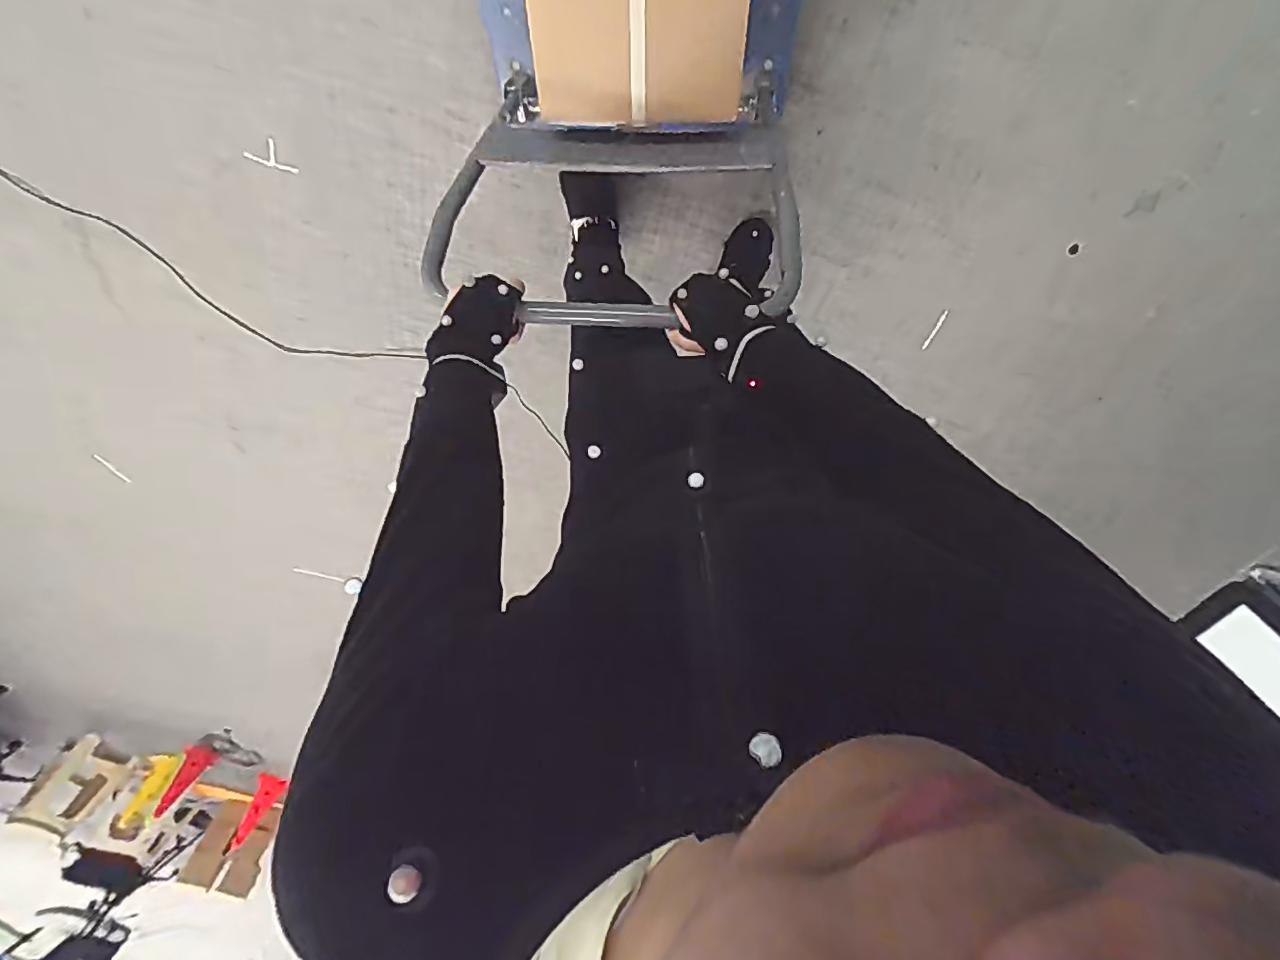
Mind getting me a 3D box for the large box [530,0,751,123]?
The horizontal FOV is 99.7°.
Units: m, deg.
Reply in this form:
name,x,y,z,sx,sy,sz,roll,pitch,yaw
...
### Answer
name,x,y,z,sx,sy,sz,roll,pitch,yaw
large box,0.009,-0.810,0.812,0.320,0.320,0.408,2,137,4
